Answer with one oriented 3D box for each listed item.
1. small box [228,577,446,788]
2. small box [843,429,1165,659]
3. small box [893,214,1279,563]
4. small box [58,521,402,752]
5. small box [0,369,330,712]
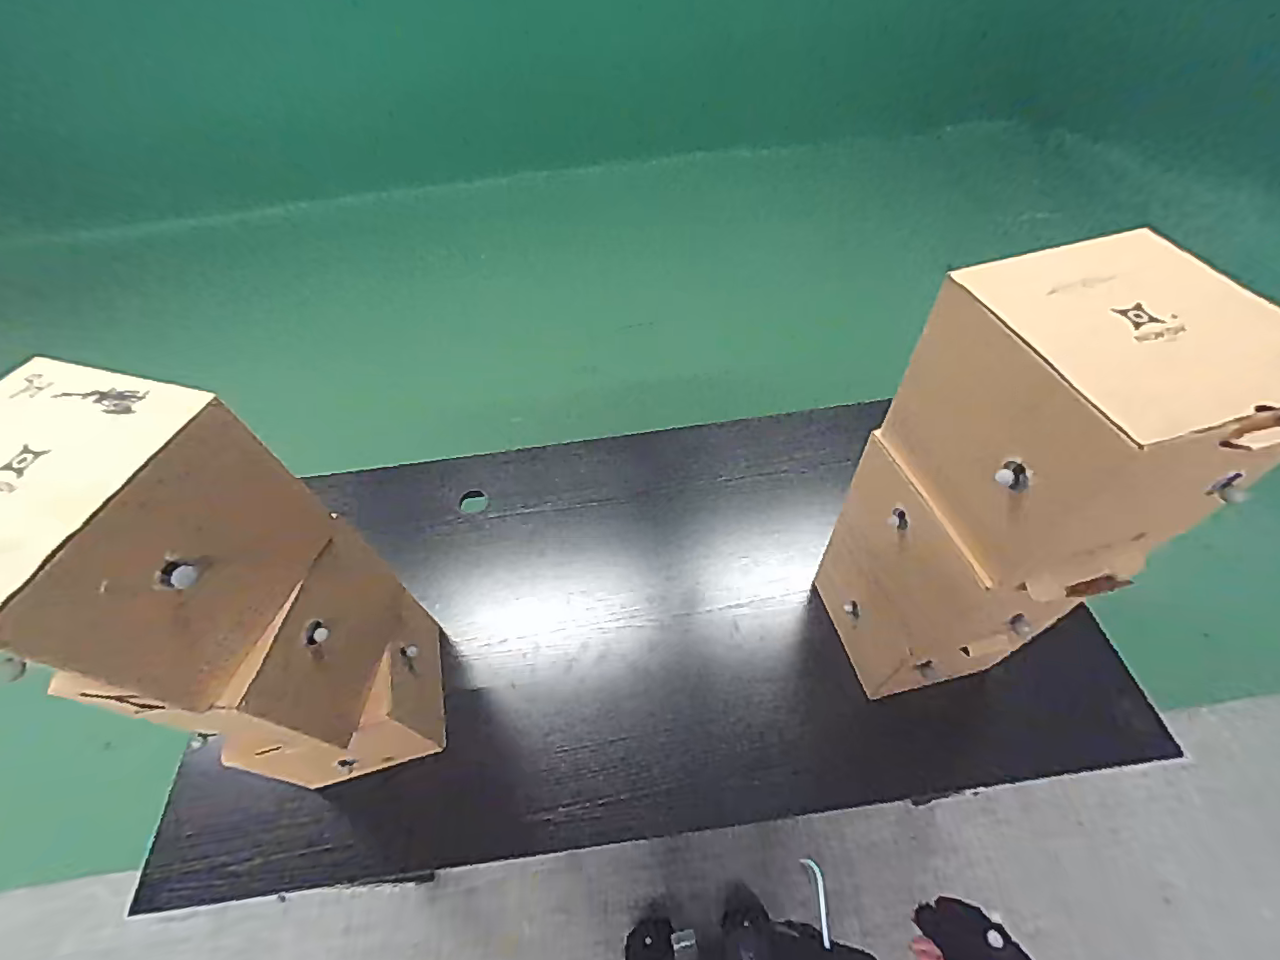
[{"bbox_3d":[-0.347,0.248,0.657,0.168,0.176,0.179,-15,55,-7],"label":"small box"},{"bbox_3d":[0.328,0.051,0.539,0.168,0.176,0.179,-15,54,-5],"label":"small box"},{"bbox_3d":[0.322,-0.057,0.395,0.168,0.176,0.179,-14,53,-6],"label":"small box"},{"bbox_3d":[-0.361,0.151,0.524,0.168,0.176,0.179,3,54,6],"label":"small box"},{"bbox_3d":[-0.374,0.049,0.396,0.168,0.176,0.179,12,57,11],"label":"small box"}]
